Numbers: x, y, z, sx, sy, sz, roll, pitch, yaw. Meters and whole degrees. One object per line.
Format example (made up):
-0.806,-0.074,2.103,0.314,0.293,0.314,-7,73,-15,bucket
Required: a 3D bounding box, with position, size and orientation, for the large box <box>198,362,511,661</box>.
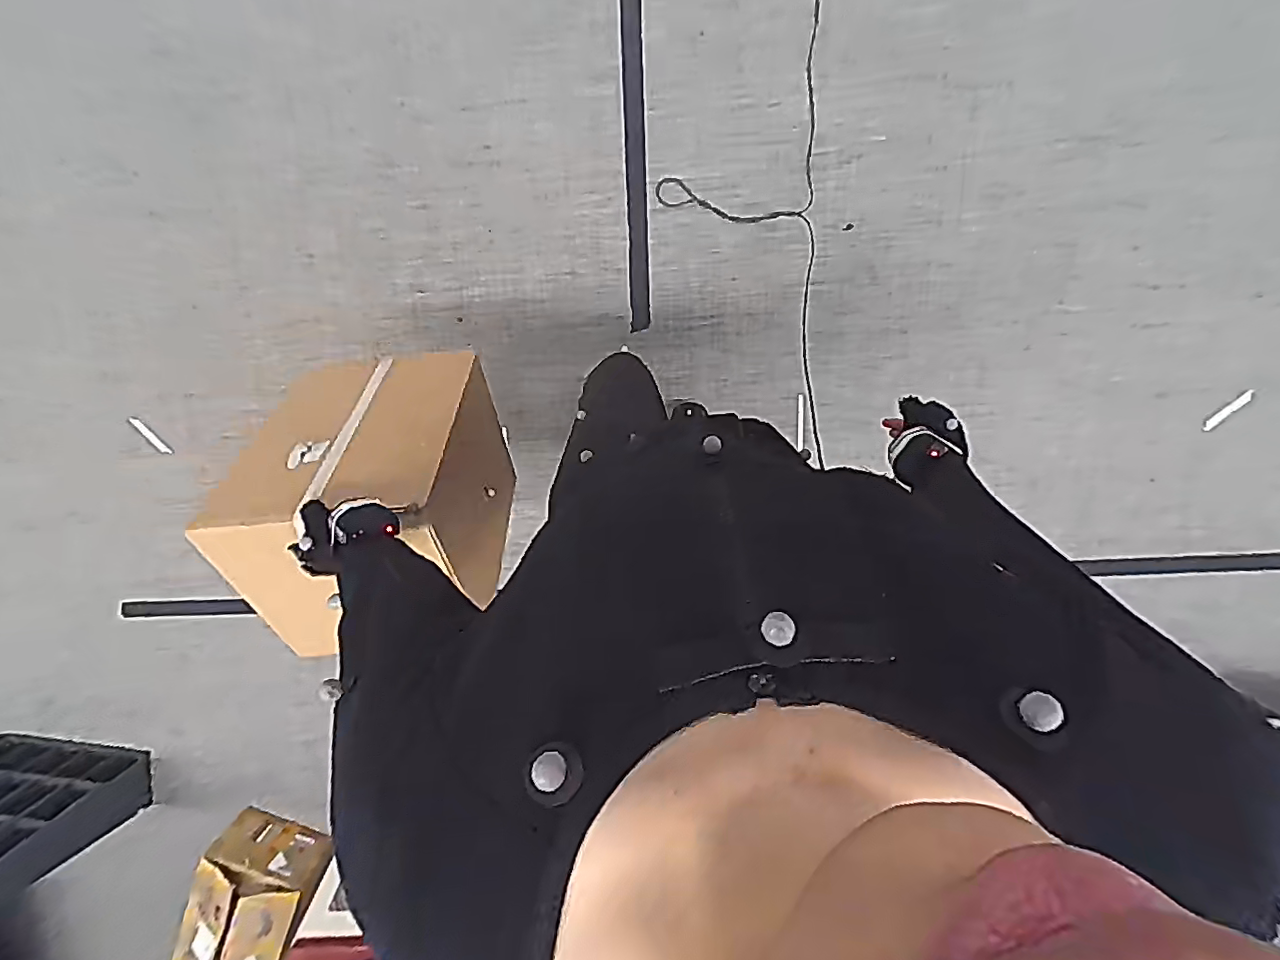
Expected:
-0.425,0.044,0.941,0.320,0.408,0.320,-8,132,1,large box
